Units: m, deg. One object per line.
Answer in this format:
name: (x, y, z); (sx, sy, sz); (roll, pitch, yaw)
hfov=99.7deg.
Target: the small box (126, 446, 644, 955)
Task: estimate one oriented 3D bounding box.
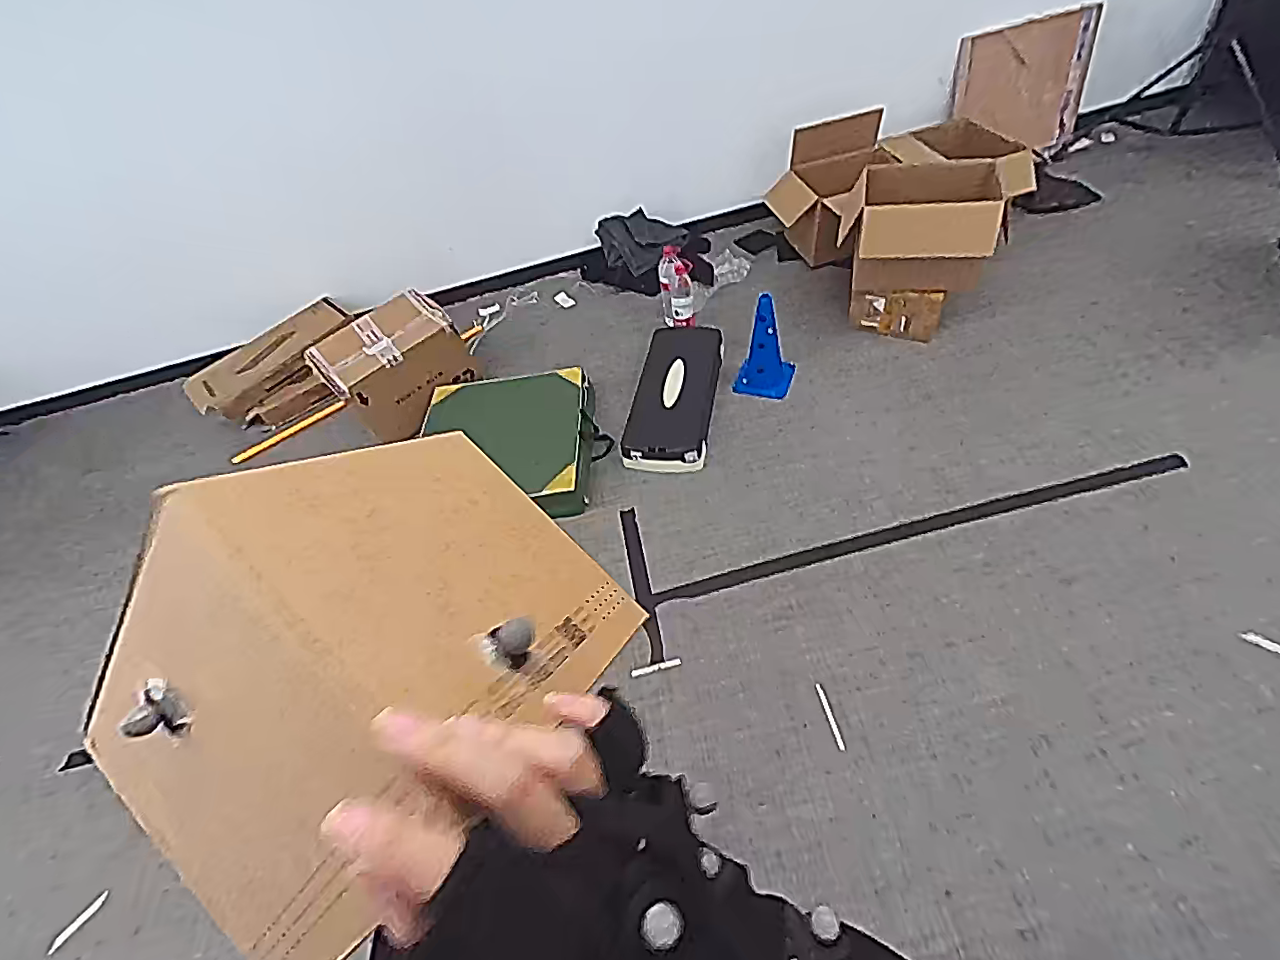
small box: (-0.130, 0.108, 0.310); (0.176, 0.168, 0.179); (43, 111, 7)
